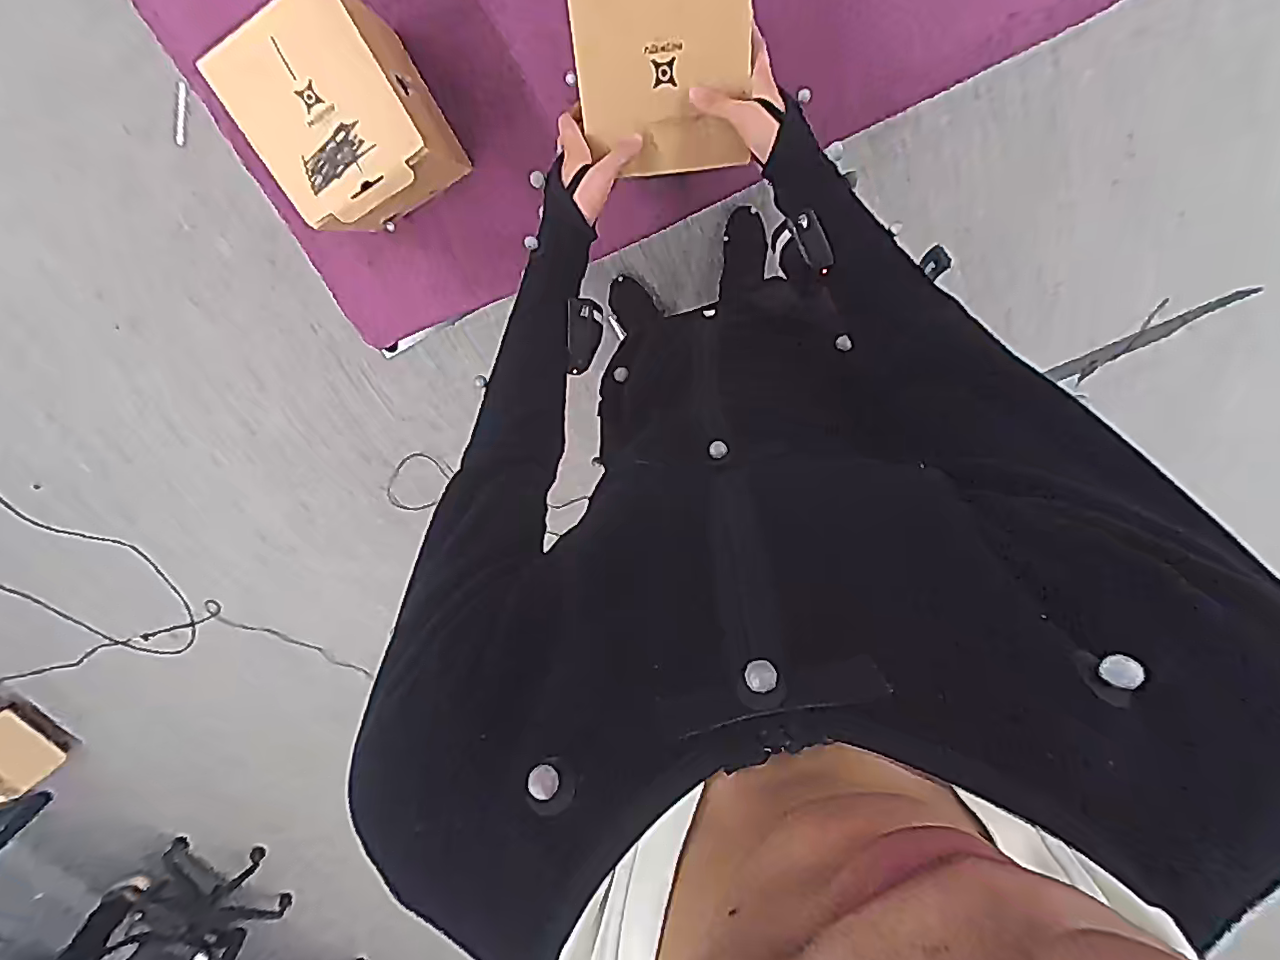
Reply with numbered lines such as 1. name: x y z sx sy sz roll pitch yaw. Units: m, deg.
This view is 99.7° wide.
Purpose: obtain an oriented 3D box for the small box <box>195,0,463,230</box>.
1. small box: -0.338 -0.416 0.632 0.168 0.176 0.179 -27 110 11

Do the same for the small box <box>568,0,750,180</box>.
1. small box: 0.019 -0.425 0.573 0.168 0.176 0.179 -4 121 3
